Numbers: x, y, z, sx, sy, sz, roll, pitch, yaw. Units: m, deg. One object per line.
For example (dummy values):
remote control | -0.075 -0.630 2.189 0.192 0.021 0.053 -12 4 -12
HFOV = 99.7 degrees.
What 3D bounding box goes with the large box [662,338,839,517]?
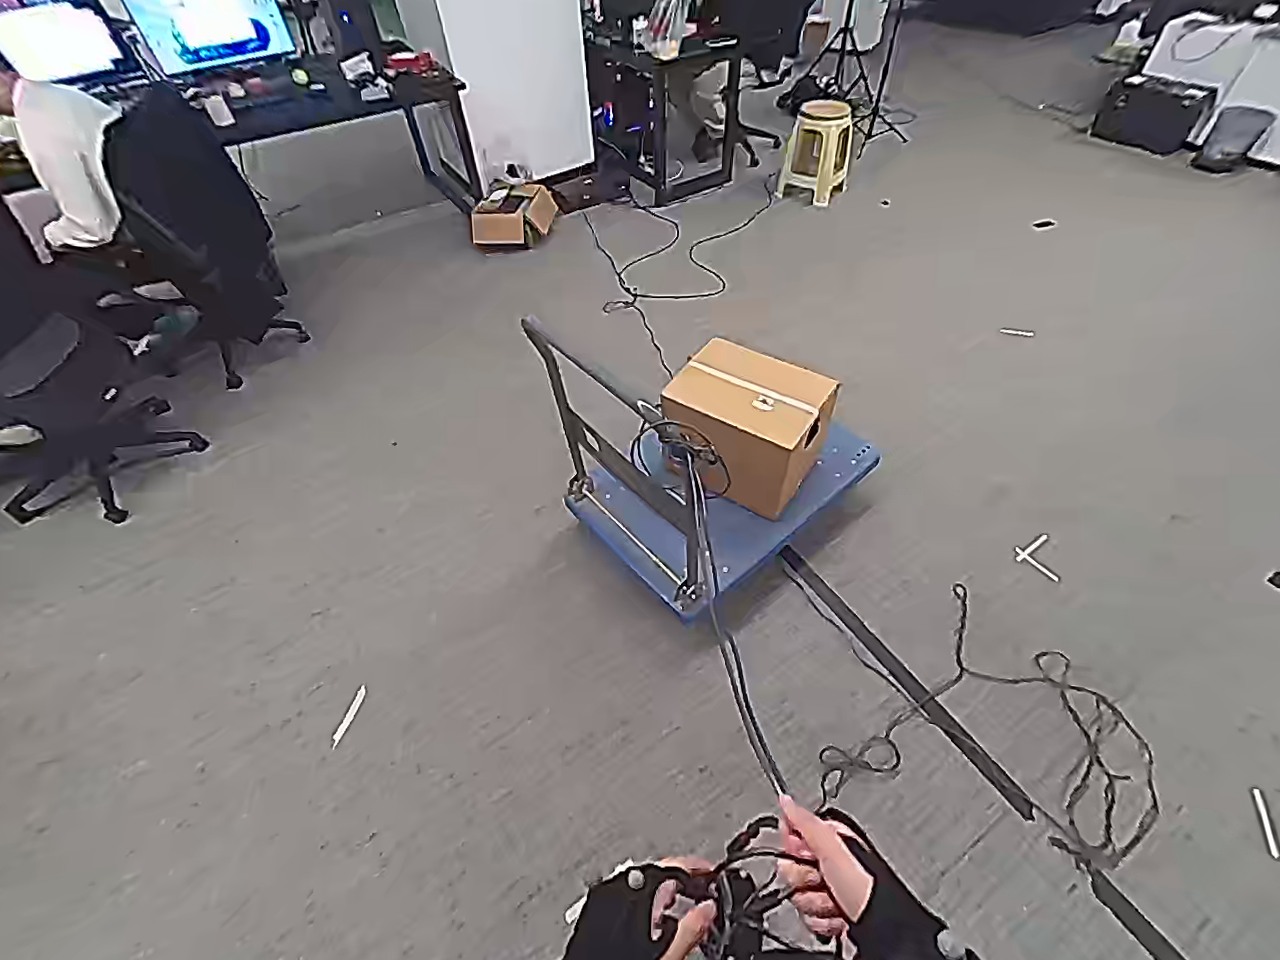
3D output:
large box | 0.308 -0.160 1.607 0.408 0.320 0.320 28 58 23
